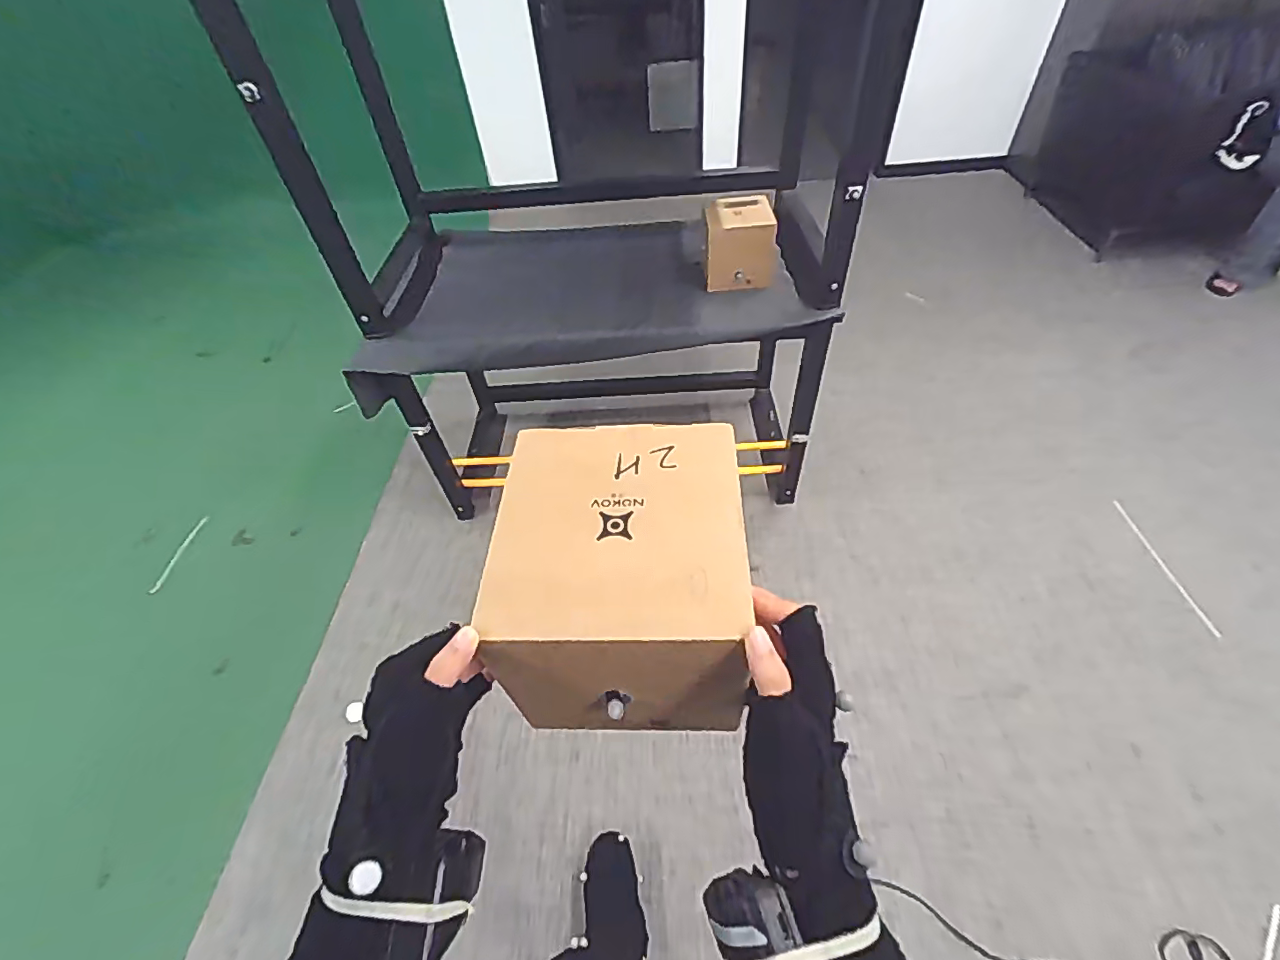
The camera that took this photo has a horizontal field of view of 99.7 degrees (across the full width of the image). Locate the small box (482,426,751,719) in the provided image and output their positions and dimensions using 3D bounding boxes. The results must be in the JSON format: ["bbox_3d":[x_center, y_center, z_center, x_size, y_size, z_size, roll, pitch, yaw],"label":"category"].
[{"bbox_3d":[-0.007,0.078,0.431,0.168,0.176,0.179,-1,49,3],"label":"small box"}]
